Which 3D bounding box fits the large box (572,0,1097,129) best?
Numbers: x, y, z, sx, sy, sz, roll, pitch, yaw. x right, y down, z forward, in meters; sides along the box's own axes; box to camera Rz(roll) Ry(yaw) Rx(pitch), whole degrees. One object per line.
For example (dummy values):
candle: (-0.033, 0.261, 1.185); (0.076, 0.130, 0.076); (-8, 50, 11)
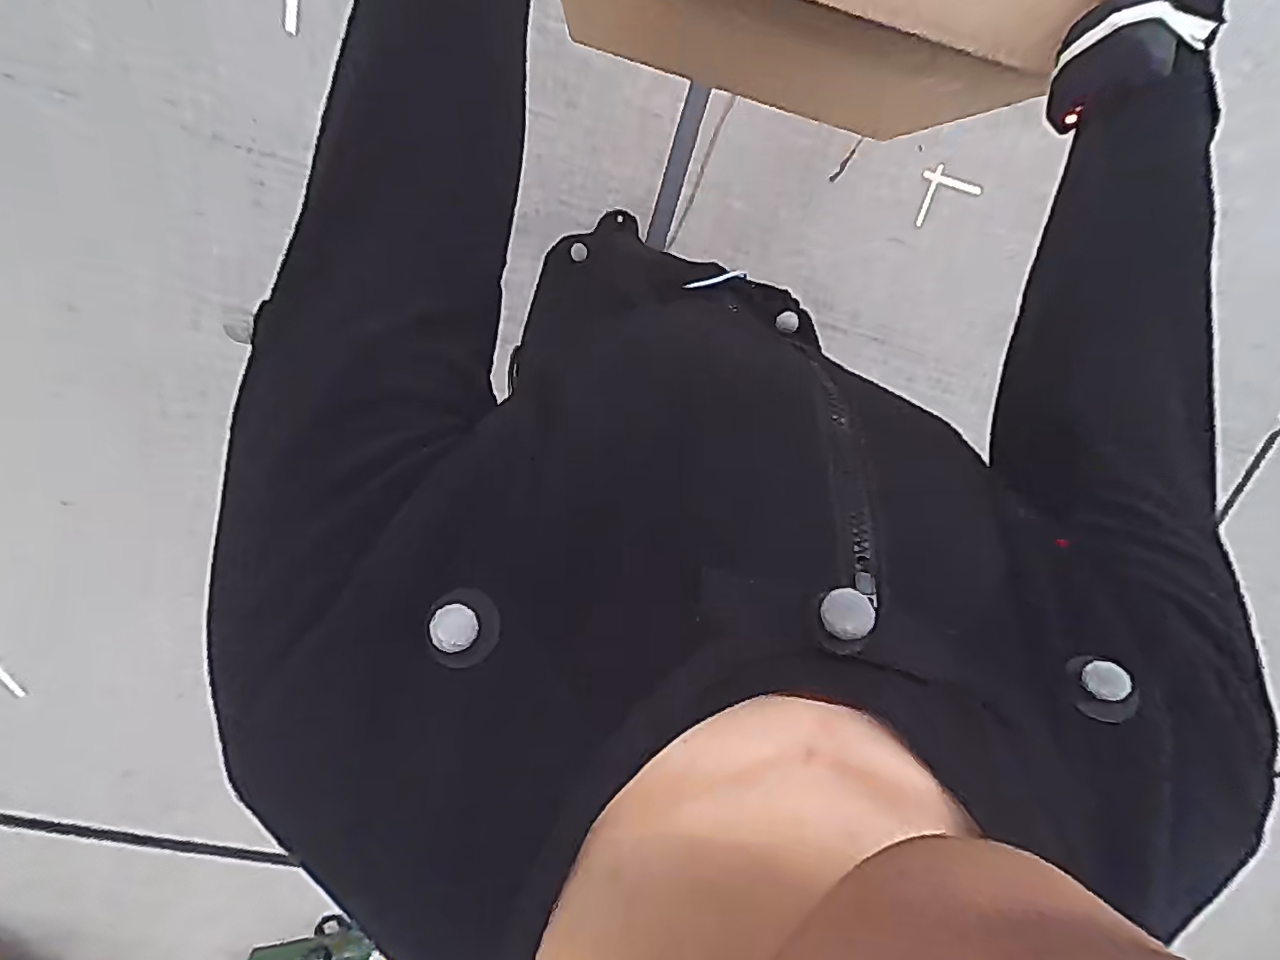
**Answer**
large box: (0.159, -0.546, 0.457); (0.408, 0.320, 0.320); (12, 115, -9)
